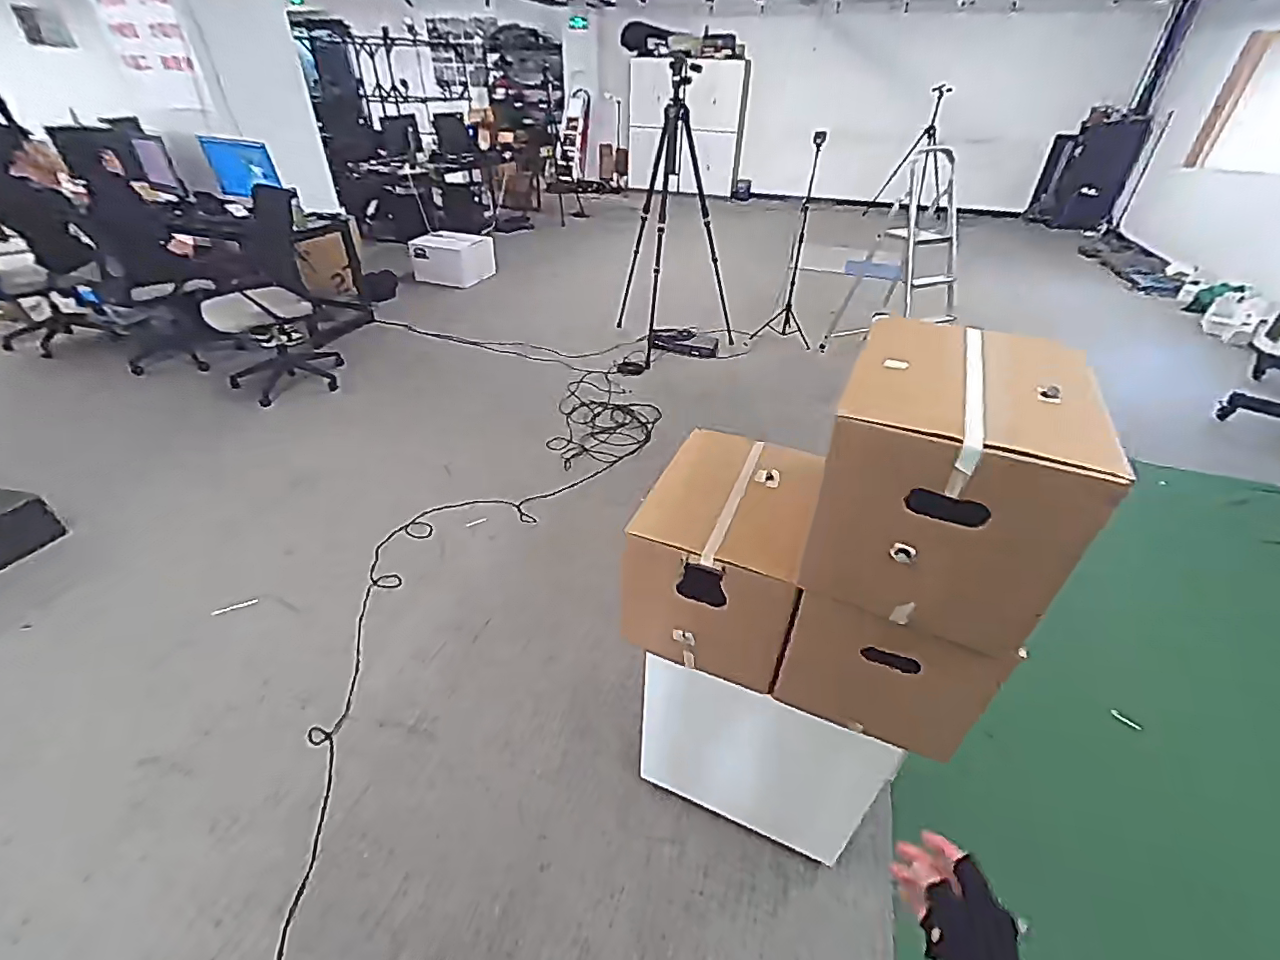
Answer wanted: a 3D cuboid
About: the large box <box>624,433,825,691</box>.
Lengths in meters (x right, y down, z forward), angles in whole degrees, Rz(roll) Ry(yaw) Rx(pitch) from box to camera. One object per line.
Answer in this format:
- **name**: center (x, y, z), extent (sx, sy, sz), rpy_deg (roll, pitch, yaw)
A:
- **large box**: center (0.181, 0.151, 1.141), extent (0.320, 0.320, 0.408), rpy_deg (15, 37, 18)
